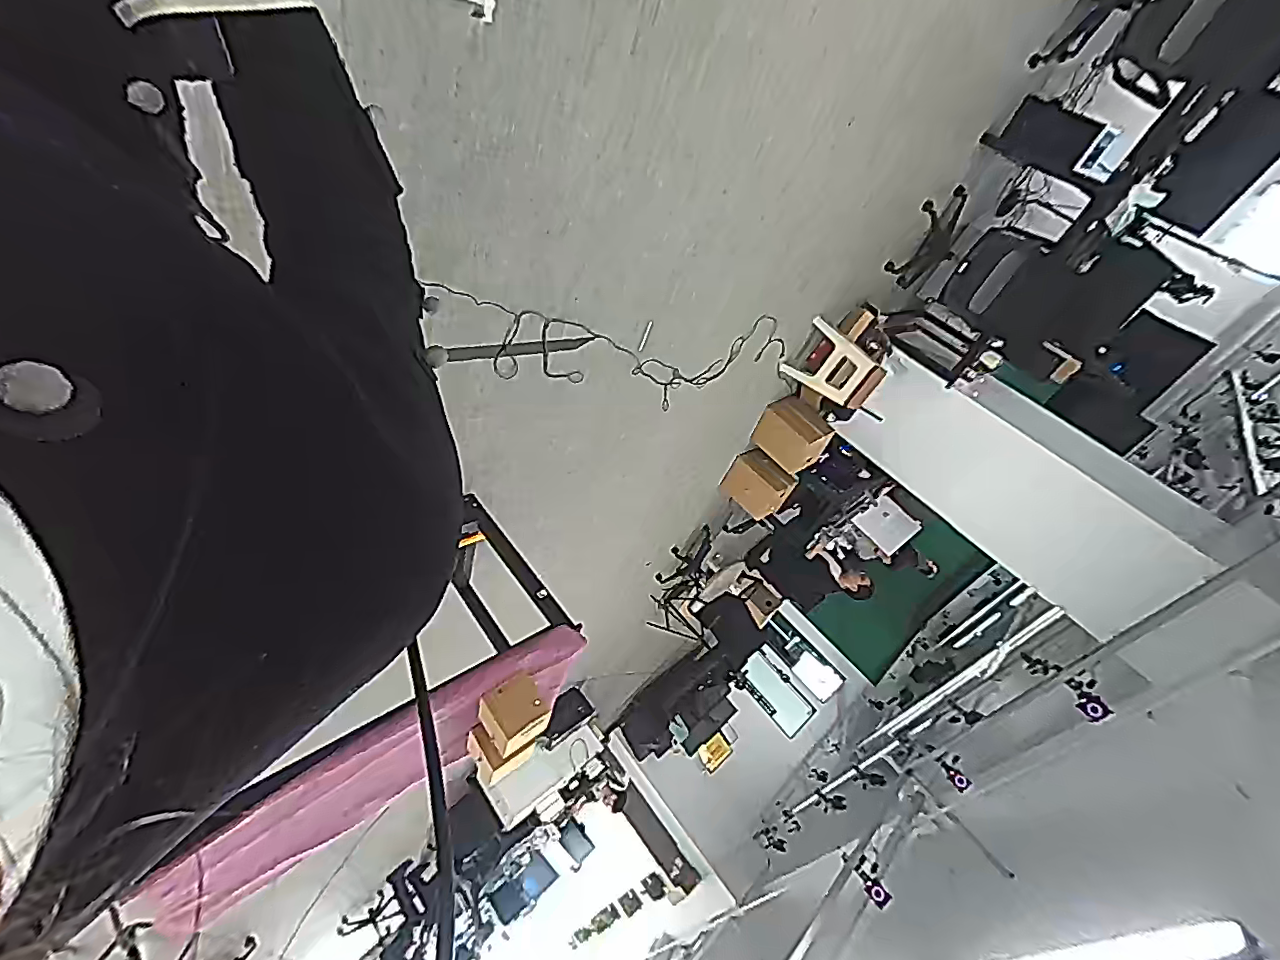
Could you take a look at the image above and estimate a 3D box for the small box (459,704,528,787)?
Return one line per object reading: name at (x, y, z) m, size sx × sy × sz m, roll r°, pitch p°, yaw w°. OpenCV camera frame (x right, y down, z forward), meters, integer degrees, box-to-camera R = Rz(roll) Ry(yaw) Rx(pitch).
small box at (-0.530, 0.945, 1.933) m, size 0.179 × 0.176 × 0.168 m, roll -23°, pitch 148°, yaw -39°
